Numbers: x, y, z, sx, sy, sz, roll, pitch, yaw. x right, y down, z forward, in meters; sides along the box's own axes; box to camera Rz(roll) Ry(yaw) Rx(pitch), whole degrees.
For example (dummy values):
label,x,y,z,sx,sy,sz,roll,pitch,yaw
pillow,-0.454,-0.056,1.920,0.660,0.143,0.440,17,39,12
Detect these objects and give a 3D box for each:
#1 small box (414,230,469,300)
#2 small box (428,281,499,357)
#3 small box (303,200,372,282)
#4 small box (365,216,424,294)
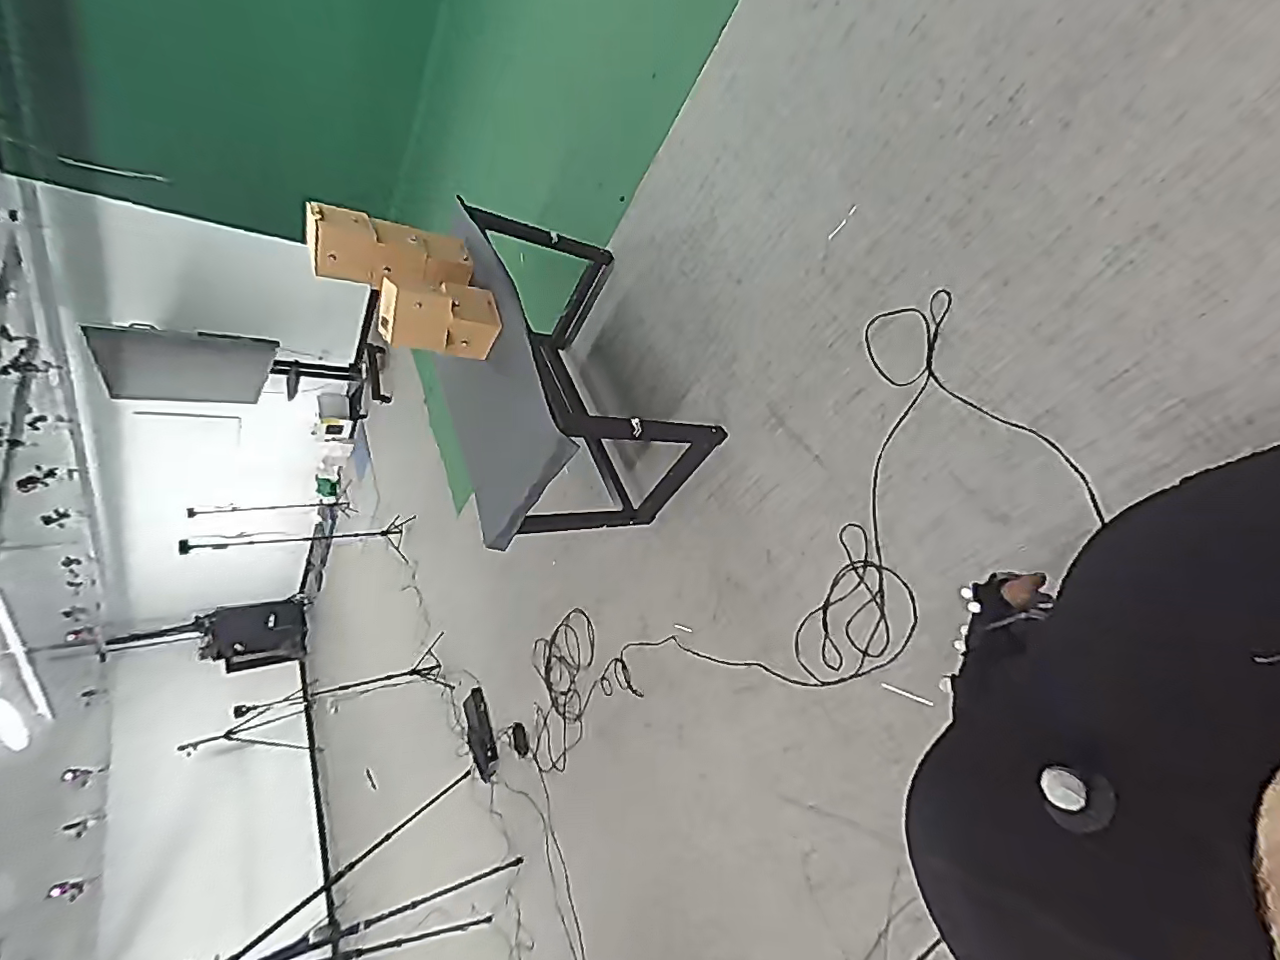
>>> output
label,x,y,z,sx,sy,sz,roll,pitch,yaw
small box,-0.740,-0.777,1.980,0.179,0.176,0.168,-53,54,40
small box,-0.593,-0.532,1.817,0.179,0.176,0.168,-43,60,43
small box,-0.988,-0.772,1.765,0.168,0.176,0.179,55,131,31
small box,-0.863,-0.772,1.875,0.168,0.176,0.179,58,132,29
